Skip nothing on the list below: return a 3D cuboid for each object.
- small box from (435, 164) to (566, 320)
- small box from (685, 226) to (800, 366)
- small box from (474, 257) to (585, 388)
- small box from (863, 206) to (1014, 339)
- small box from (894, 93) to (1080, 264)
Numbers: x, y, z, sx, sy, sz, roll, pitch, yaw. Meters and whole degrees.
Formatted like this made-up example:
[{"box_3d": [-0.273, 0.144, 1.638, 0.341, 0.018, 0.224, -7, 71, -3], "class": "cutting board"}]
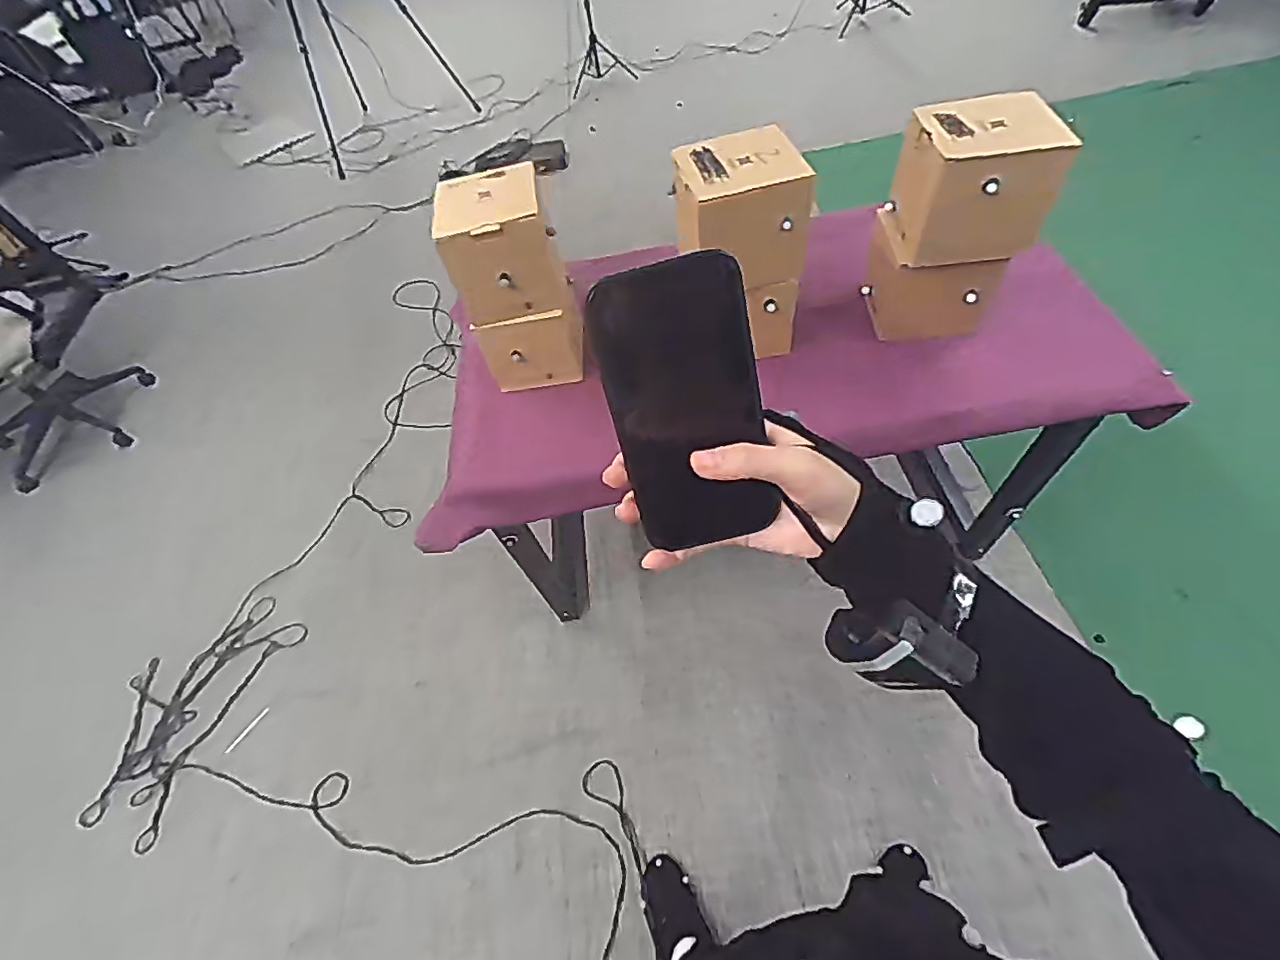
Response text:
[{"box_3d": [-0.228, -0.392, 0.915, 0.168, 0.176, 0.179, -12, 56, 1], "class": "small box"}, {"box_3d": [0.183, -0.336, 1.004, 0.179, 0.176, 0.168, -9, 55, 4], "class": "small box"}, {"box_3d": [-0.203, -0.295, 1.045, 0.168, 0.176, 0.179, -8, 55, 5], "class": "small box"}, {"box_3d": [0.520, -0.374, 0.972, 0.179, 0.176, 0.168, -3, 55, 8], "class": "small box"}, {"box_3d": [0.507, -0.453, 0.829, 0.179, 0.176, 0.168, -3, 56, 7], "class": "small box"}]
